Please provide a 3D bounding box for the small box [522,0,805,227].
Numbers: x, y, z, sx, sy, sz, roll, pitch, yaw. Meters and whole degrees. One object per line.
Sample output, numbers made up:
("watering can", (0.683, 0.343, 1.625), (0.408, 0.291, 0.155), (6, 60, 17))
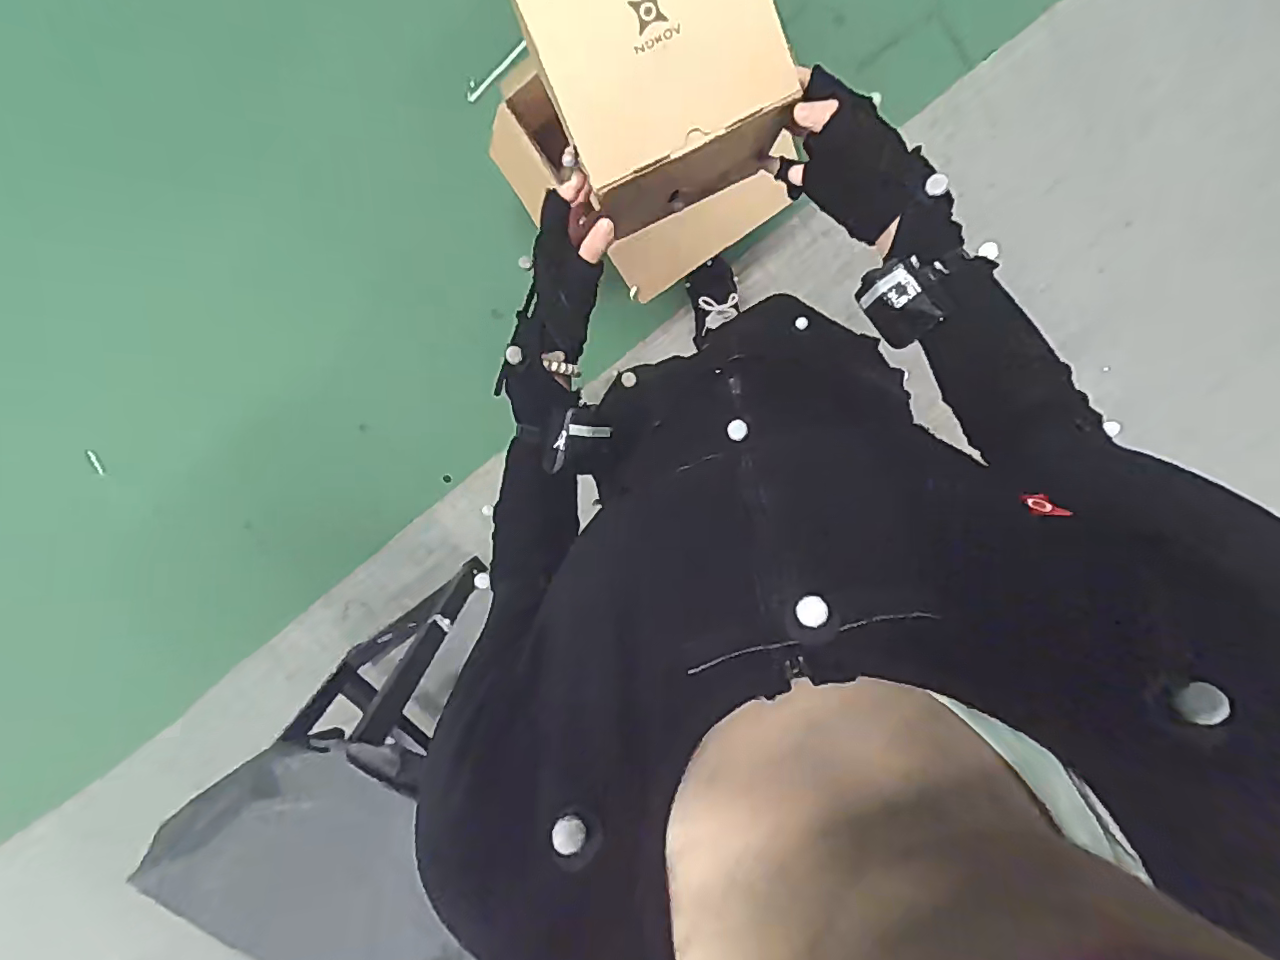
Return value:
("small box", (0.010, -0.345, 0.455), (0.168, 0.176, 0.179), (-24, 103, 6))
